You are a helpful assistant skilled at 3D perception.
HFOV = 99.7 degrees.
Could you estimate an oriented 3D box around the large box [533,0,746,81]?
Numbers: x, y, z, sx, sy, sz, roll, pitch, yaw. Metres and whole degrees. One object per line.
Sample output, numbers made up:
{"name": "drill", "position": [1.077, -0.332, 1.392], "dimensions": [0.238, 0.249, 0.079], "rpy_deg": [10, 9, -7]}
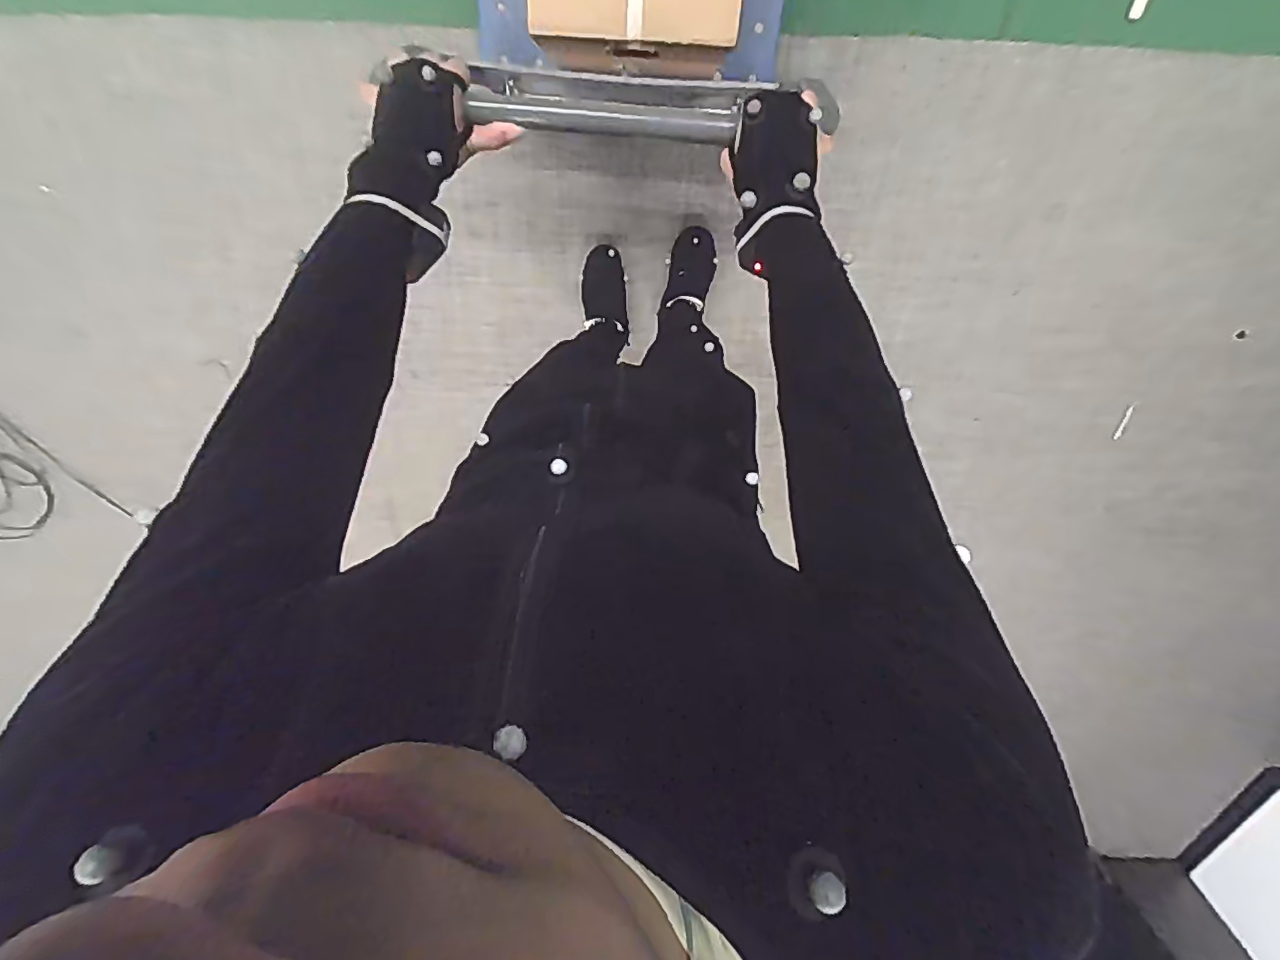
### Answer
{"name": "large box", "position": [0.009, -0.896, 0.846], "dimensions": [0.320, 0.320, 0.408], "rpy_deg": [3, 119, -1]}
